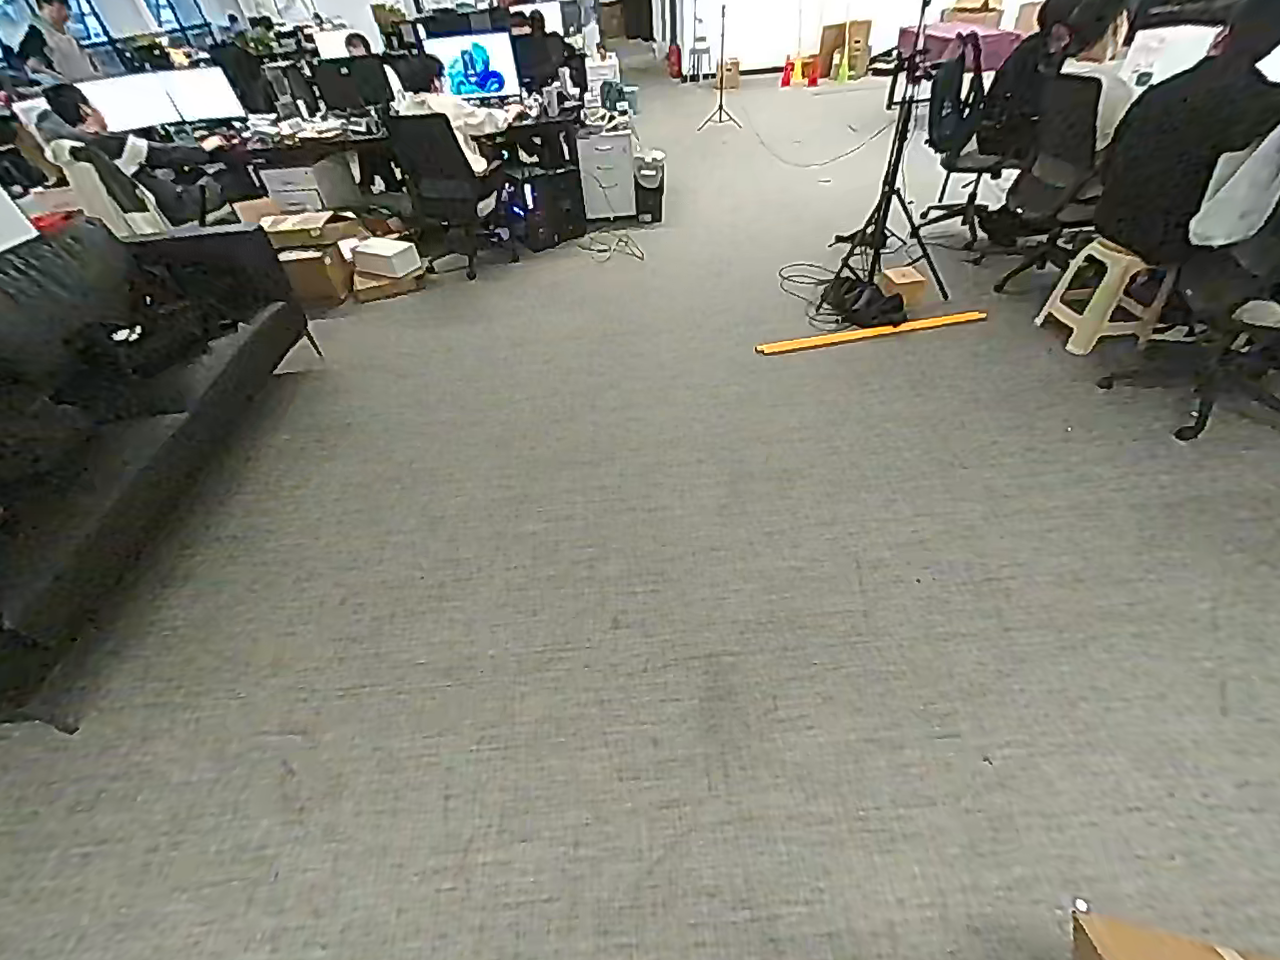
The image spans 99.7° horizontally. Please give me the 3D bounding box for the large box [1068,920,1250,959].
[{"bbox_3d":[0.665,0.744,0.501,0.320,0.408,0.320,4,86,19],"label":"large box"}]
